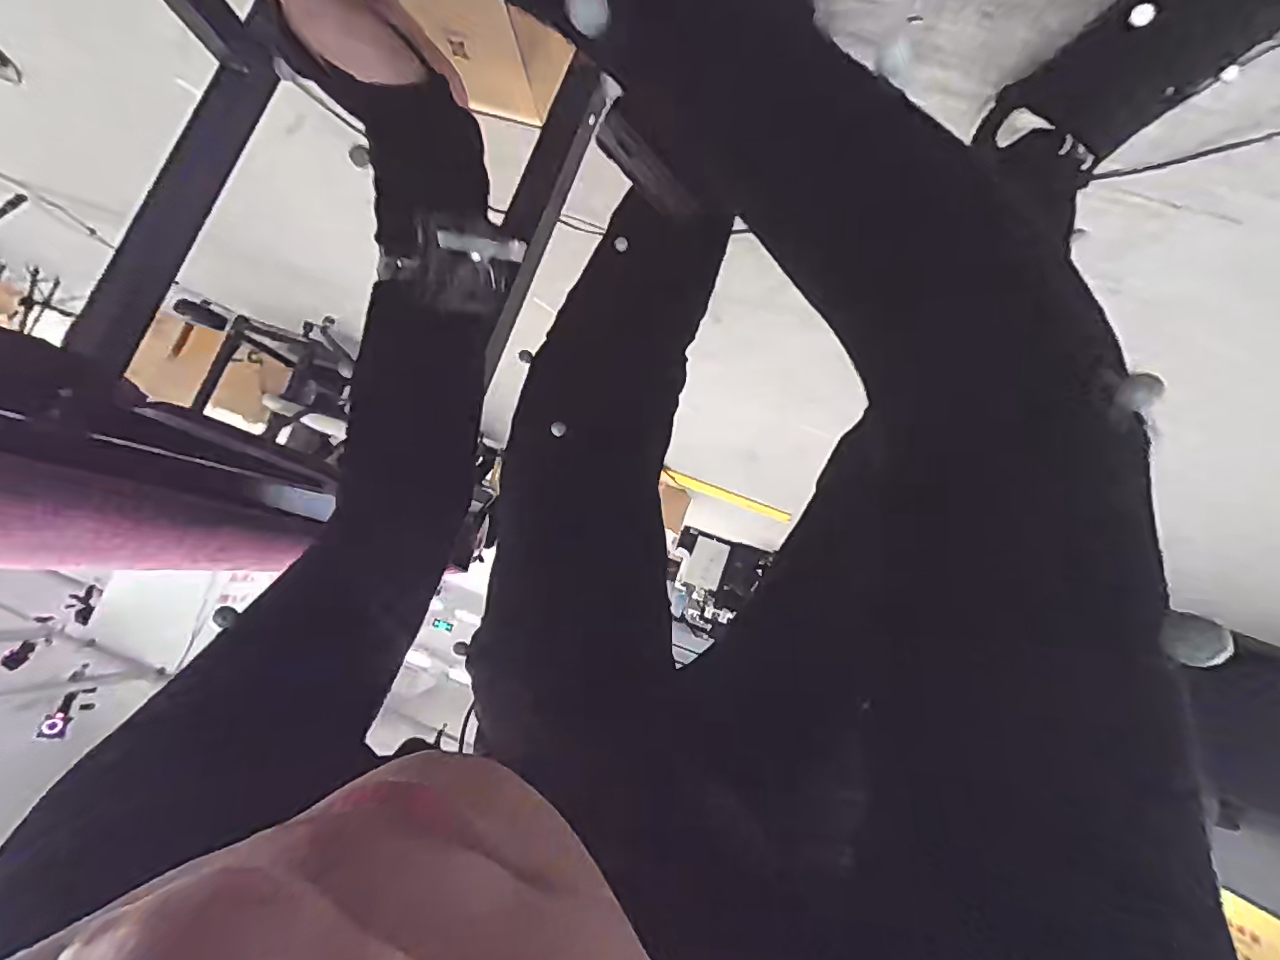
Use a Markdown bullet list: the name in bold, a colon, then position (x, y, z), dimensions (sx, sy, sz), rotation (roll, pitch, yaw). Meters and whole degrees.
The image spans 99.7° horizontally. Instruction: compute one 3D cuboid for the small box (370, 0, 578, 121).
- **small box**: position (-0.181, -0.557, 0.600), dimensions (0.168, 0.176, 0.179), rotation (19, 171, 7)
